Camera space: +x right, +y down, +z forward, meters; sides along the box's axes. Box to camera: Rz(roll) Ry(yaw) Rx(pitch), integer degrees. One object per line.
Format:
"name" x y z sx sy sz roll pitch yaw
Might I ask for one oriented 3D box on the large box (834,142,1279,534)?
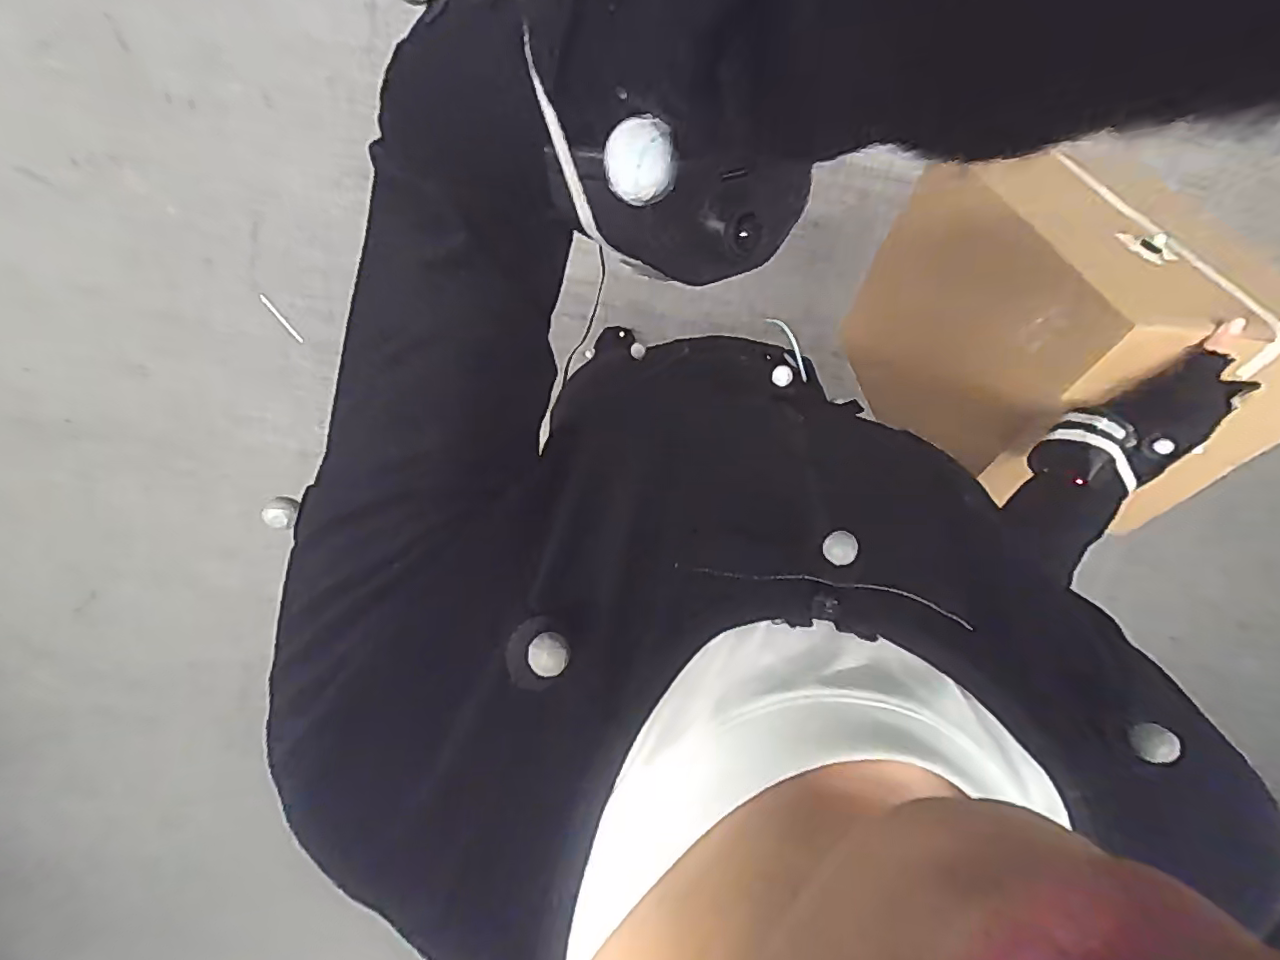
"large box" 0.521 -0.180 0.724 0.320 0.408 0.320 3 142 -11
